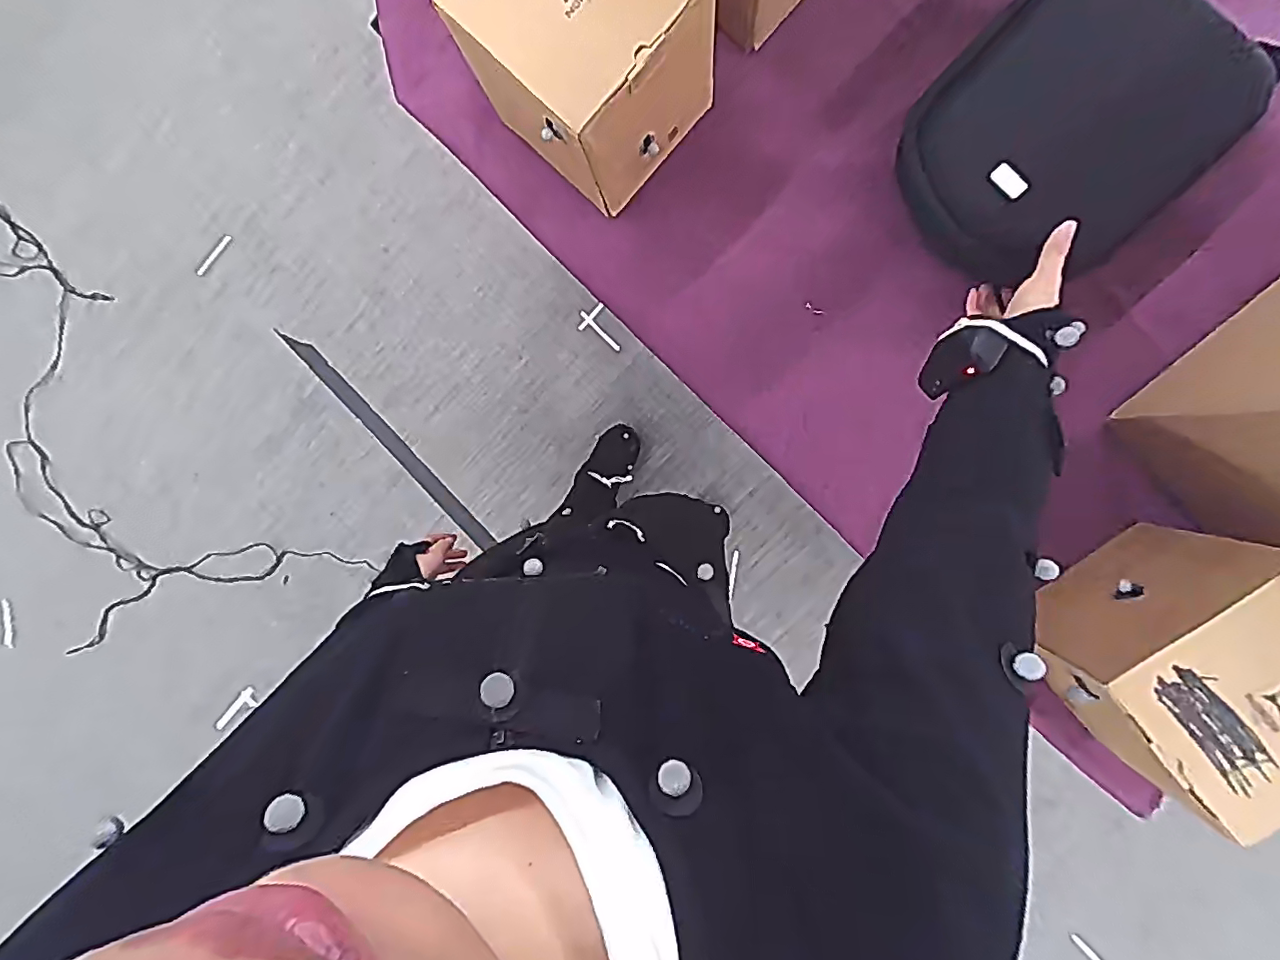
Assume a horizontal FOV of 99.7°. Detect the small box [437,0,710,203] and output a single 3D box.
[{"bbox_3d":[-0.053,-0.412,0.522,0.179,0.176,0.168,43,97,1],"label":"small box"}]
